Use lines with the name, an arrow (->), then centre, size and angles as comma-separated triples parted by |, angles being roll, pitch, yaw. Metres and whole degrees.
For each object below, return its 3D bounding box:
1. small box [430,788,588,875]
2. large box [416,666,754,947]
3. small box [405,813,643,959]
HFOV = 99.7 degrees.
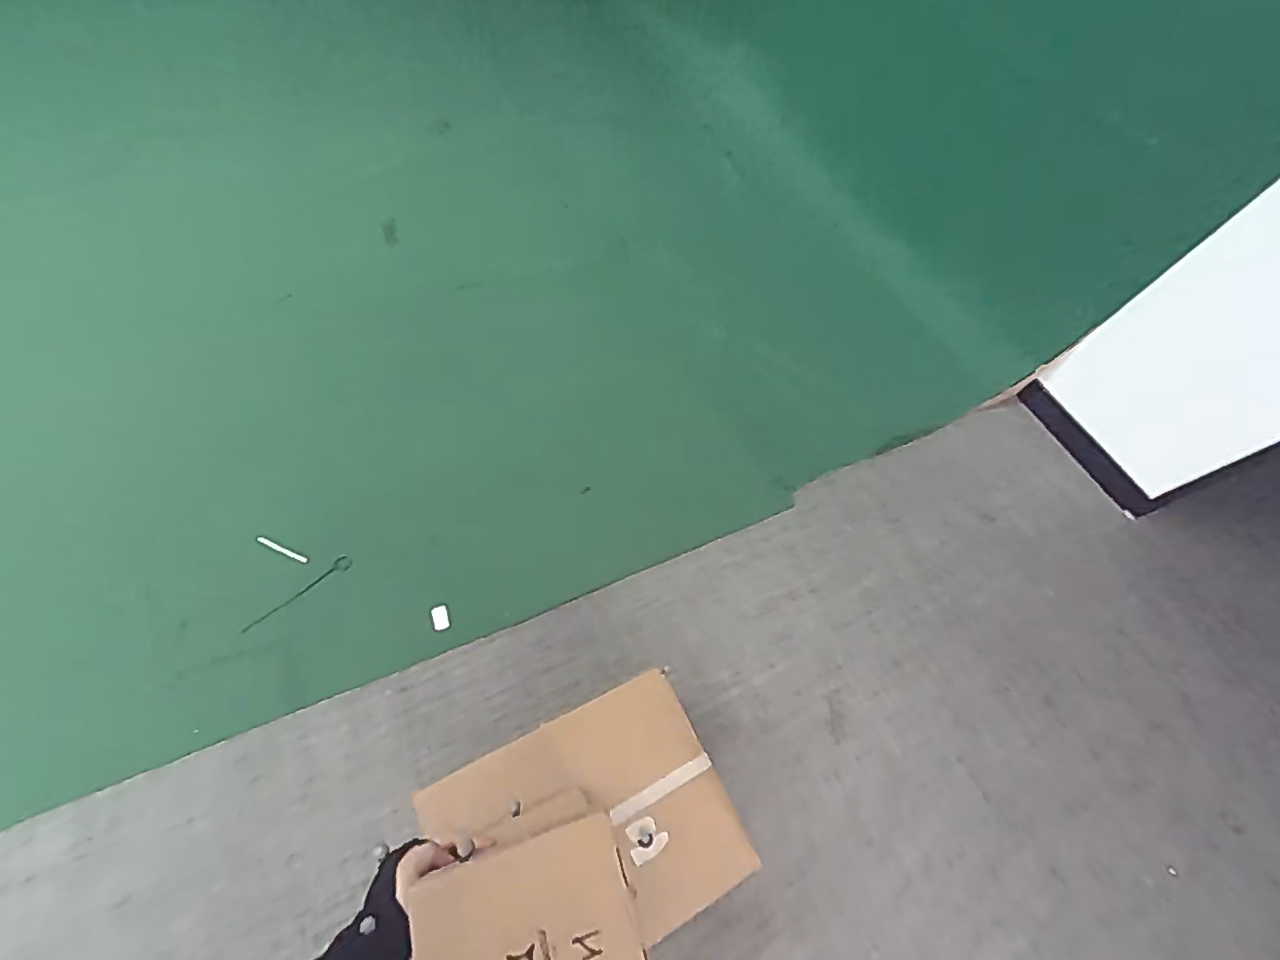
small box -> -0.130, 0.492, 0.646 | 0.179, 0.176, 0.168 | -17, 66, -19
large box -> -0.098, 0.568, 0.892 | 0.408, 0.320, 0.320 | -20, 67, -21
small box -> -0.099, 0.427, 0.496 | 0.179, 0.176, 0.168 | -11, 64, -17
